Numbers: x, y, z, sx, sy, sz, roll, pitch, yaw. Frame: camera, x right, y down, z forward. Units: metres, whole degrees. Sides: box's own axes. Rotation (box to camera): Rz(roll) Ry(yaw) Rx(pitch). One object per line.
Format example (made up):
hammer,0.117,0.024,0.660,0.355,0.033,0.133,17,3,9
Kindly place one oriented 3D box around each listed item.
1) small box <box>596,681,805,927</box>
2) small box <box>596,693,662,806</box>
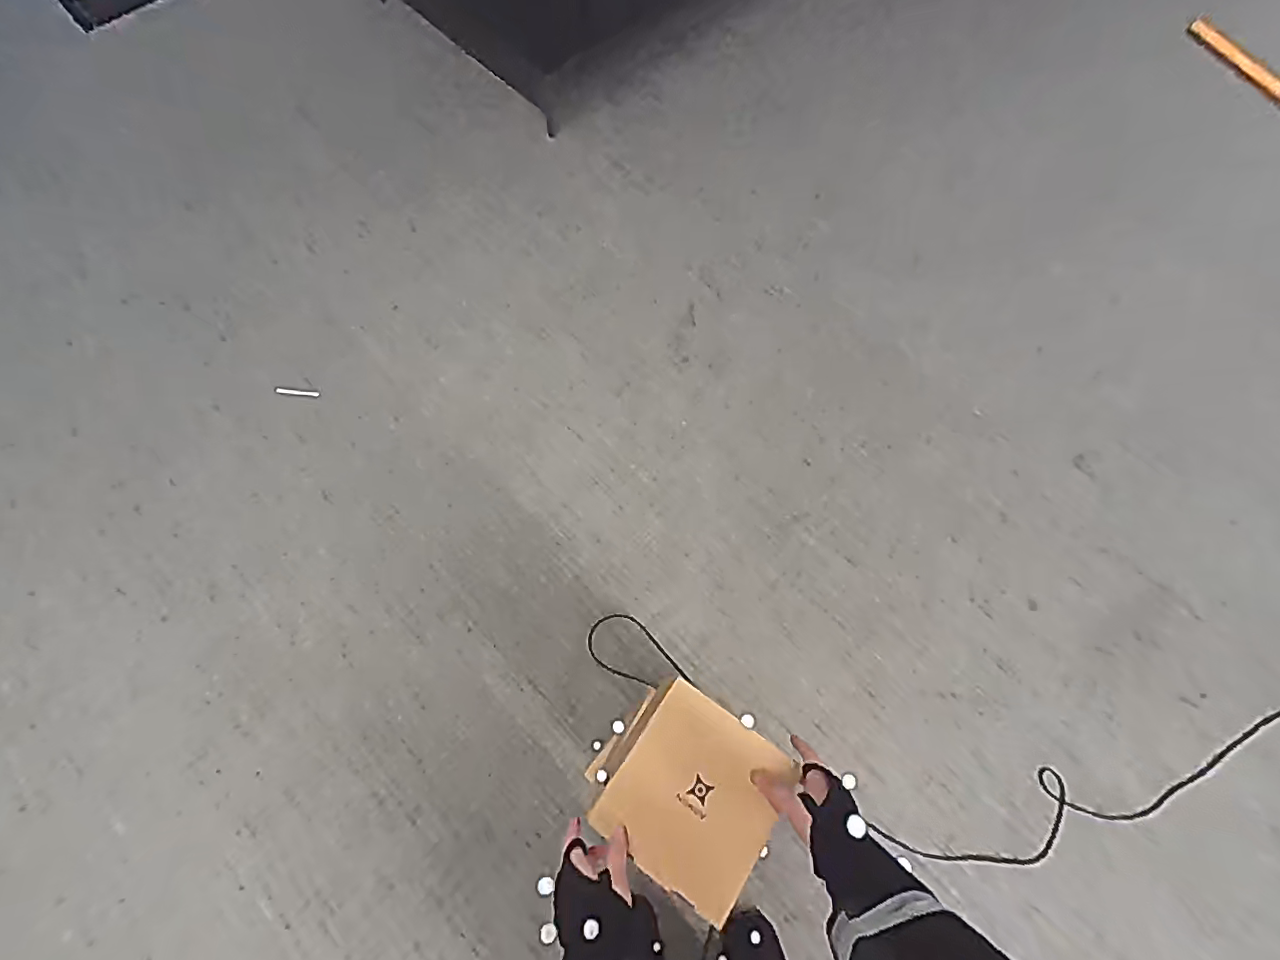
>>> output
small box,0.065,0.363,0.650,0.168,0.176,0.179,33,74,11
small box,0.056,0.431,0.799,0.179,0.176,0.168,29,72,11
